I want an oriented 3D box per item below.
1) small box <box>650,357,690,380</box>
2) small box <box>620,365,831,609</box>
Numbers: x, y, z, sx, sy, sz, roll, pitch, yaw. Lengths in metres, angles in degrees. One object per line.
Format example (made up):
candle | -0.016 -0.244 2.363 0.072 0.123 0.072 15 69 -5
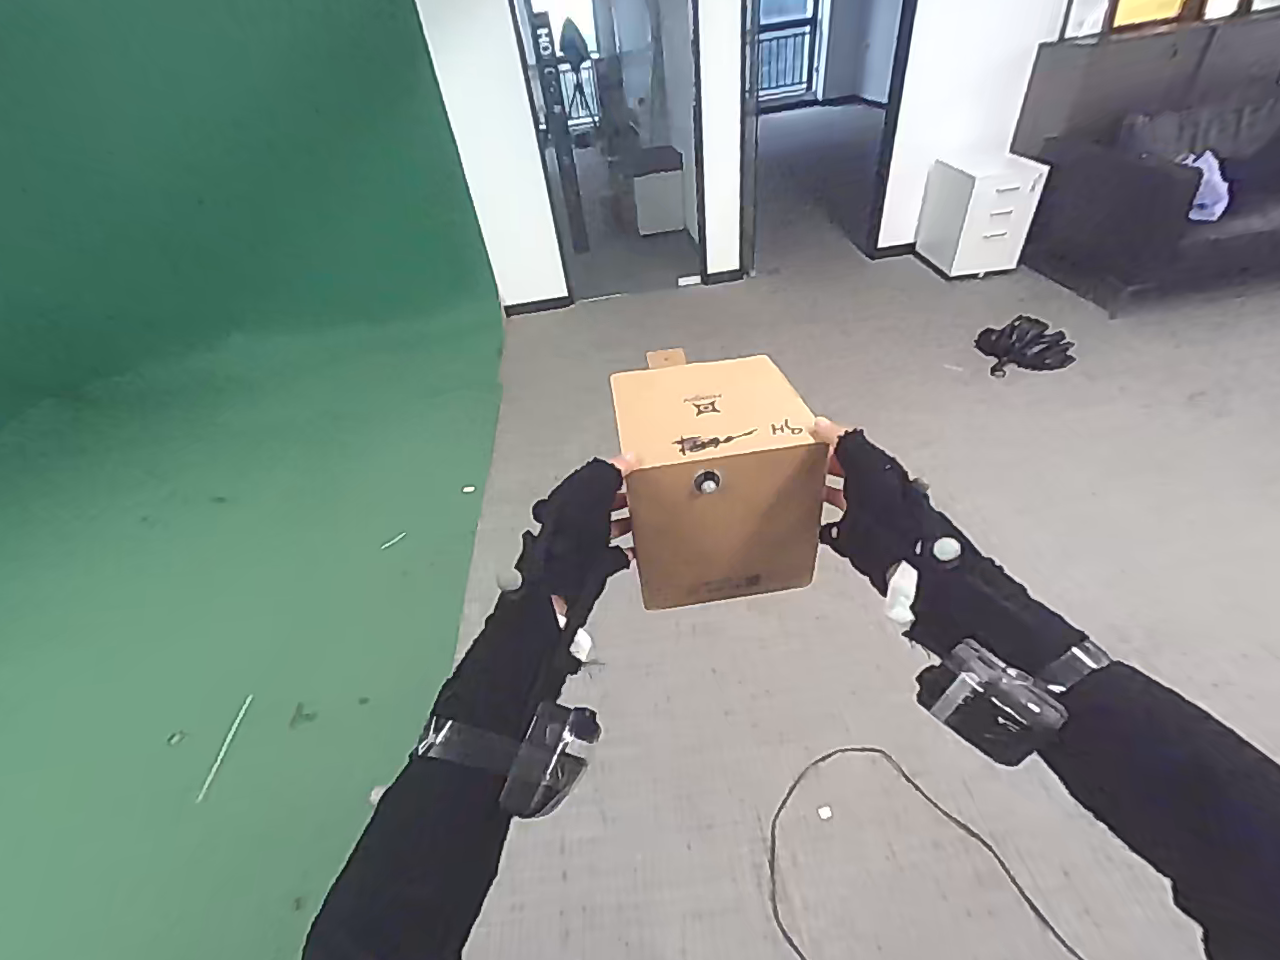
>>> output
small box | 0.141 -0.434 2.463 0.168 0.176 0.179 -9 40 2
small box | 0.074 0.002 0.546 0.168 0.176 0.179 -9 34 -1
